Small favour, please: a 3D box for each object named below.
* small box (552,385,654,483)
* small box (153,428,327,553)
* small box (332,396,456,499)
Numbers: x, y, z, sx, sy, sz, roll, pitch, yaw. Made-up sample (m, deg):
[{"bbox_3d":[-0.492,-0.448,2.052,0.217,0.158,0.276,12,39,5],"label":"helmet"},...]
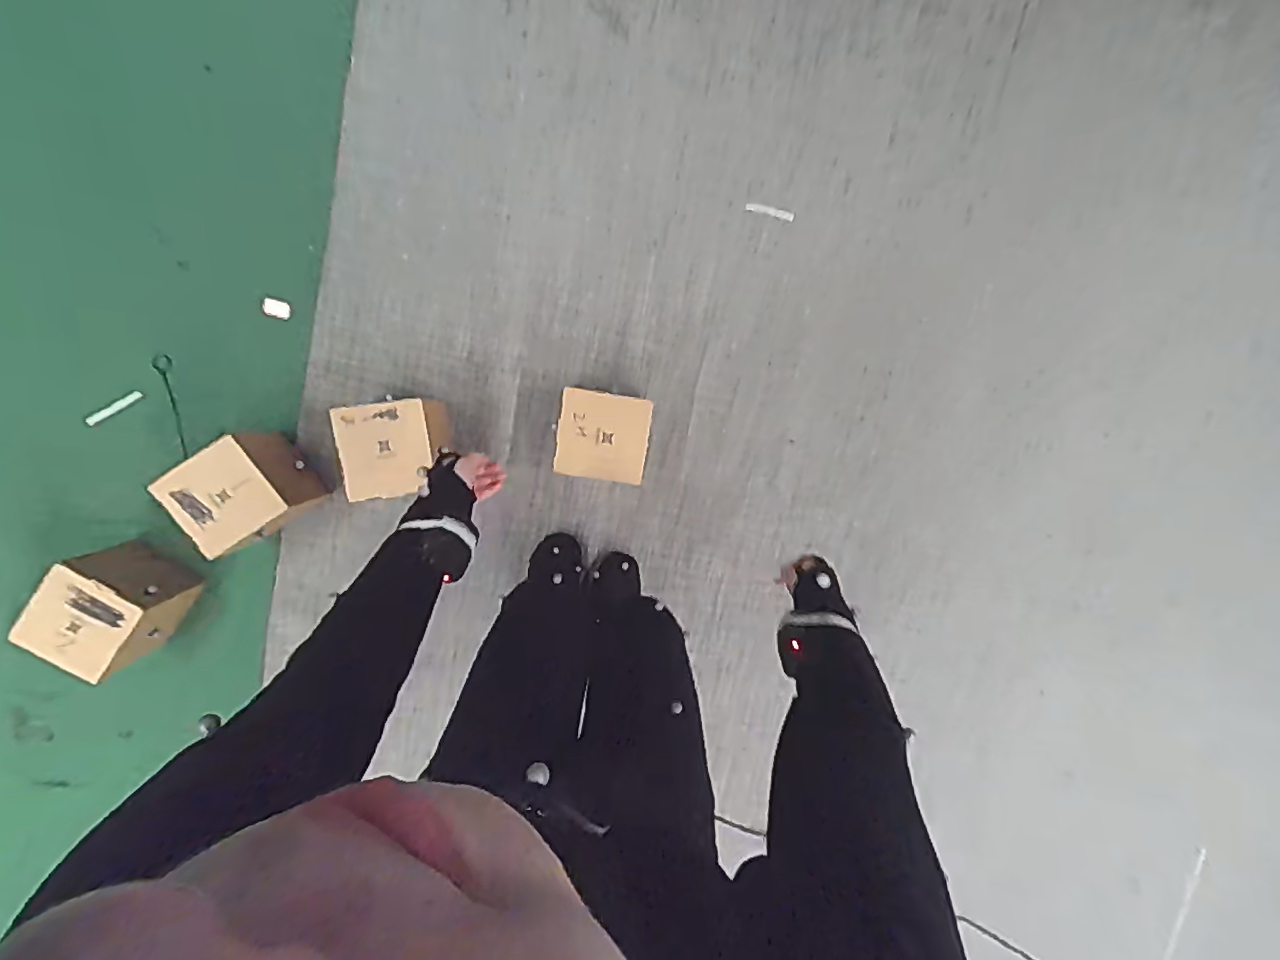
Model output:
[{"bbox_3d":[-0.080,-0.098,1.111,0.179,0.176,0.168,9,96,-8],"label":"small box"},{"bbox_3d":[-0.762,0.013,1.055,0.179,0.176,0.168,-34,100,-2],"label":"small box"},{"bbox_3d":[-0.476,-0.071,1.074,0.168,0.176,0.179,-7,99,-5],"label":"small box"}]
